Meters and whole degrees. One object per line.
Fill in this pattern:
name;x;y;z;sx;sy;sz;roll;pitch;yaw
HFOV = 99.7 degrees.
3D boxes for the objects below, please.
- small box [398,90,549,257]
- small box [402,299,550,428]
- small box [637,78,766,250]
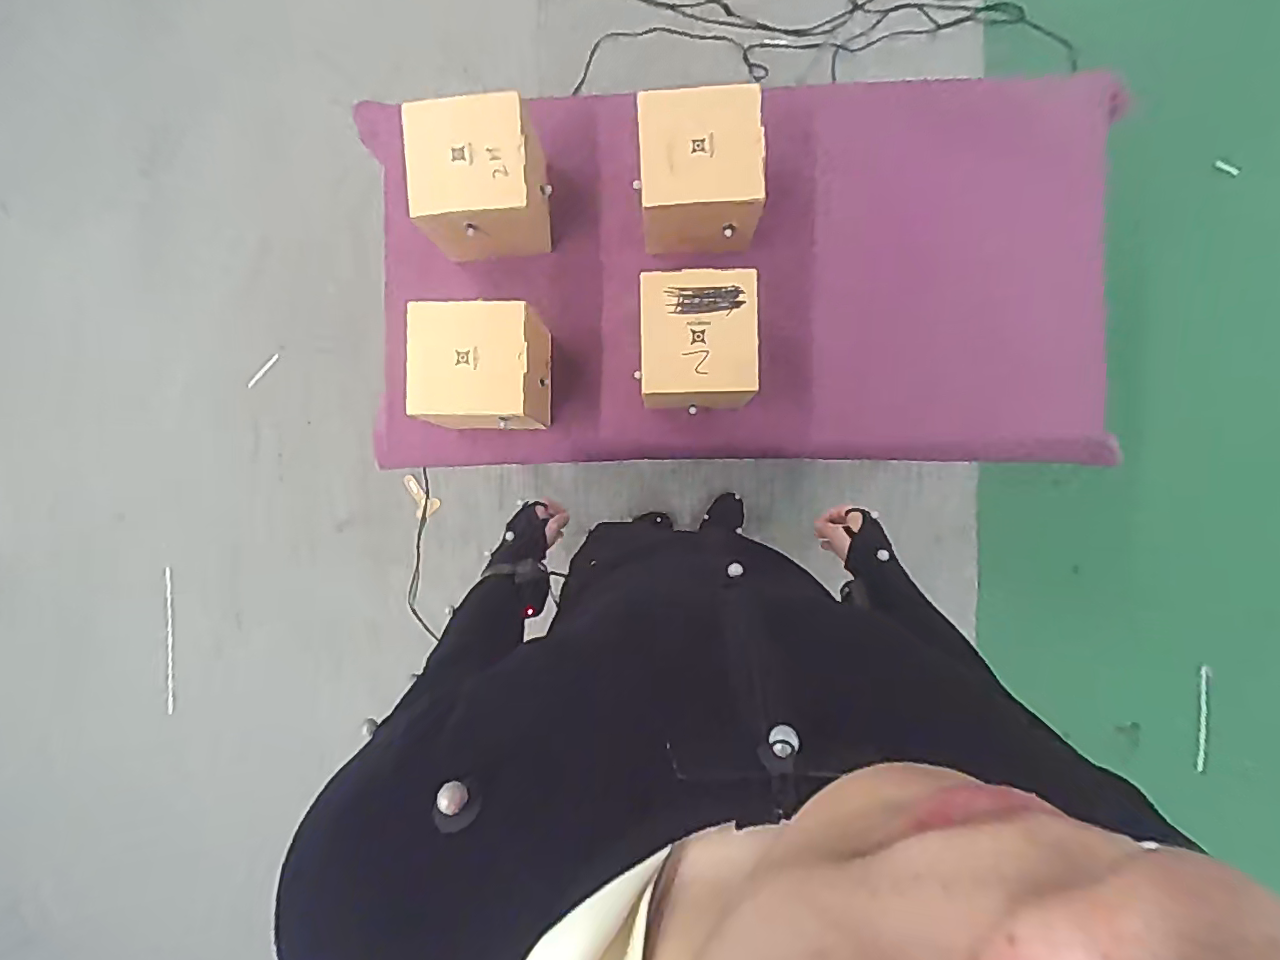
small box;-0.250;-0.462;0.842;0.179;0.176;0.168;-3;91;3
small box;-0.247;-0.172;0.845;0.179;0.176;0.168;0;89;2
small box;0.088;-0.469;0.826;0.179;0.176;0.168;-2;90;4
